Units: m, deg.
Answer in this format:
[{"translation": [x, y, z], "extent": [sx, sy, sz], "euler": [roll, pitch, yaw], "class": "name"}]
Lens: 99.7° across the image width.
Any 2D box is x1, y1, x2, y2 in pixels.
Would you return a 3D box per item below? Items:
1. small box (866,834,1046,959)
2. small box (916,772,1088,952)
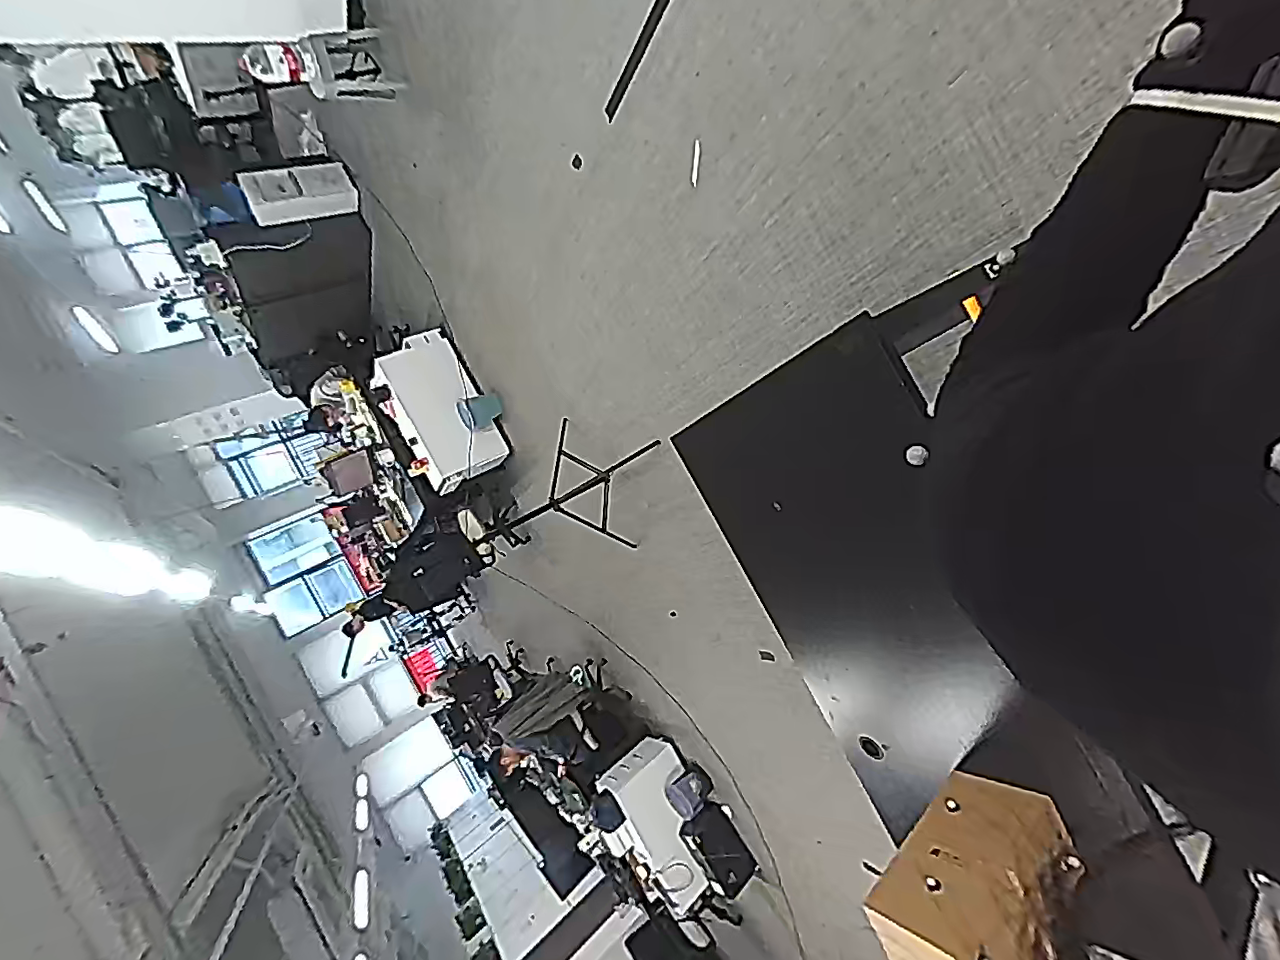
[{"translation": [0.516, 0.734, 0.887], "extent": [0.179, 0.176, 0.168], "euler": [62, 151, -3], "class": "small box"}, {"translation": [0.642, 0.658, 0.963], "extent": [0.168, 0.176, 0.179], "euler": [62, 149, -3], "class": "small box"}]
